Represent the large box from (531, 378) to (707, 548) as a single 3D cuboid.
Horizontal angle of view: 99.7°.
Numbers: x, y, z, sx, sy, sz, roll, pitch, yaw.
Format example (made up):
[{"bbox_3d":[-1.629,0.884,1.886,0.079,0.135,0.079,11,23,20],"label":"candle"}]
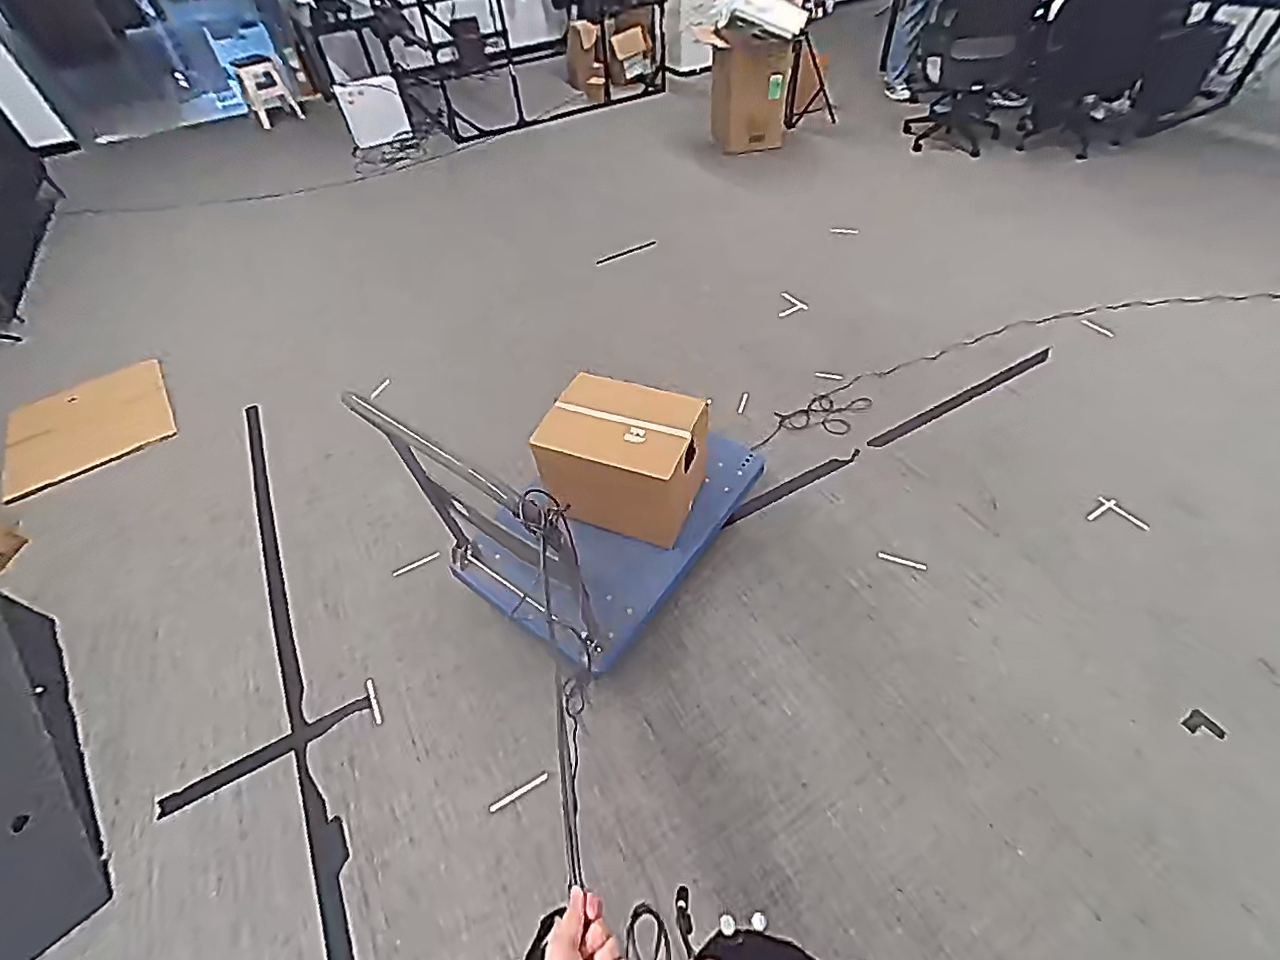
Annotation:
[{"bbox_3d":[-0.045,-0.052,1.572,0.408,0.320,0.320,15,53,17],"label":"large box"}]
